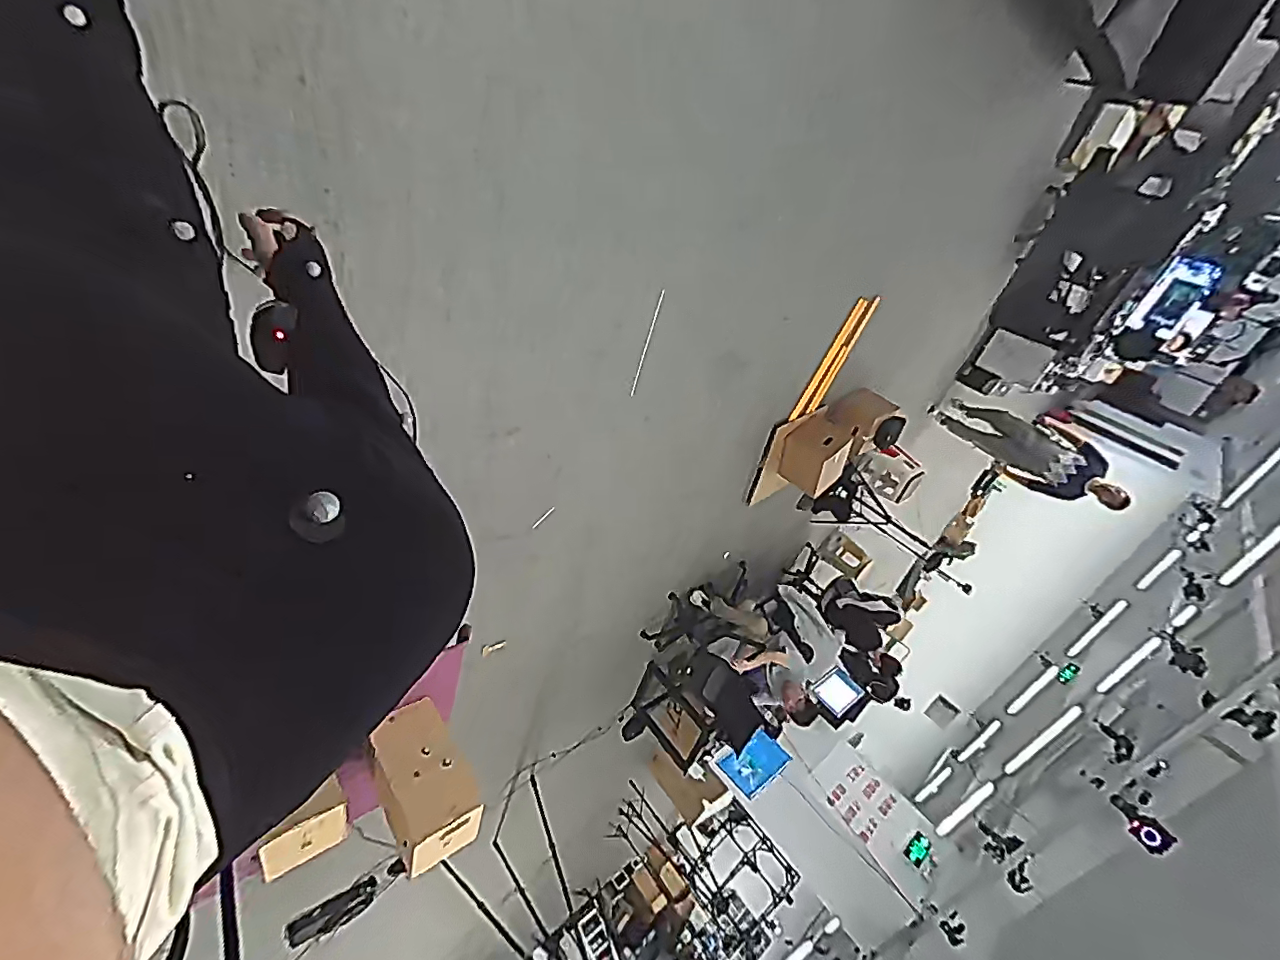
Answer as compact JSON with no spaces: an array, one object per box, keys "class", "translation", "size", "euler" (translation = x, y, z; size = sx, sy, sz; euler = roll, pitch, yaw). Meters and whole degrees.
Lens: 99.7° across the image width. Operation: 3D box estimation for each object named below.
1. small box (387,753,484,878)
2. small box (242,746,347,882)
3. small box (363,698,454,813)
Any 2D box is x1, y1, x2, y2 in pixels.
[{"class":"small box","translation":[-0.501,0.799,1.311],"size":[0.168,0.176,0.179],"euler":[-13,134,-41]},{"class":"small box","translation":[-0.786,0.753,1.235],"size":[0.168,0.176,0.179],"euler":[-15,134,-42]},{"class":"small box","translation":[-0.604,0.707,1.402],"size":[0.168,0.176,0.179],"euler":[-14,135,-42]}]
